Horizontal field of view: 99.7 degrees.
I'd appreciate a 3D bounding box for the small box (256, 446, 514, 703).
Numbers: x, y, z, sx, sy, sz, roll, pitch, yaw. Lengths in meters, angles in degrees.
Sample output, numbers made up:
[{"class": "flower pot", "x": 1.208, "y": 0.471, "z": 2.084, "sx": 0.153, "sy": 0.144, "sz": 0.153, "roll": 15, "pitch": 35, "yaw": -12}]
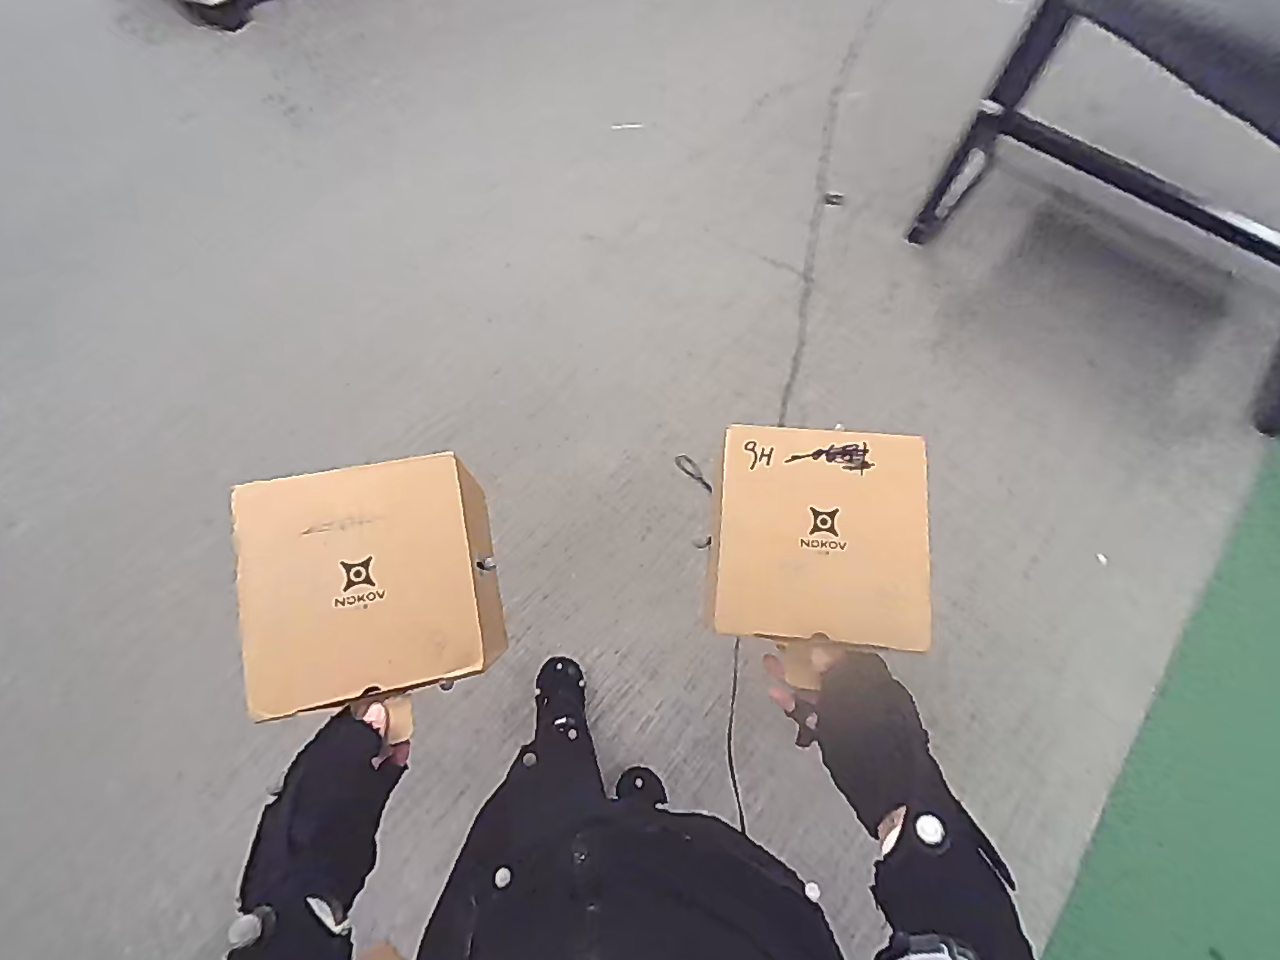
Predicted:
[{"class": "small box", "x": -0.214, "y": 0.082, "z": 0.495, "sx": 0.168, "sy": 0.176, "sz": 0.179, "roll": -9, "pitch": 79, "yaw": -10}]
